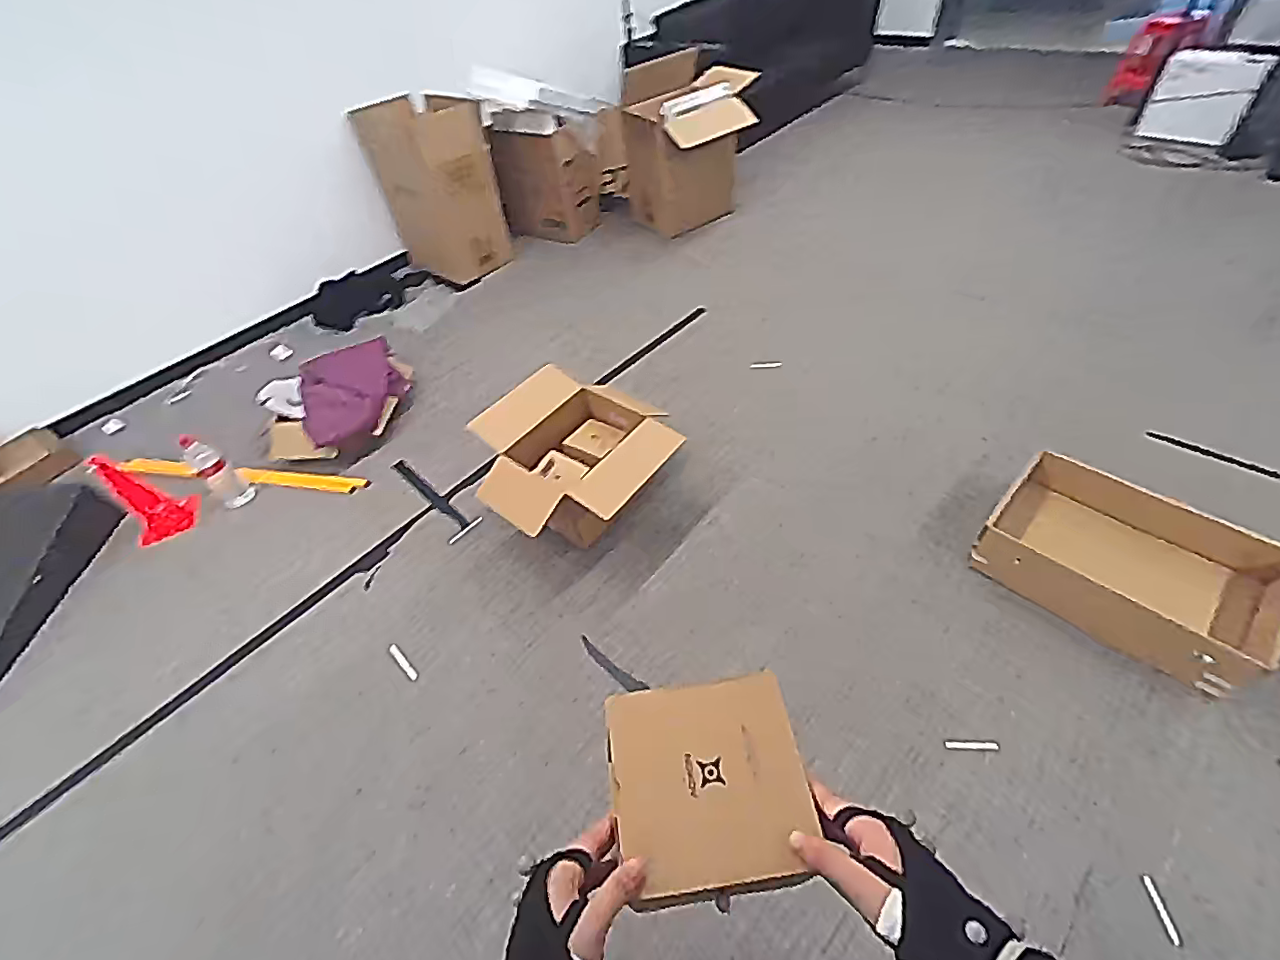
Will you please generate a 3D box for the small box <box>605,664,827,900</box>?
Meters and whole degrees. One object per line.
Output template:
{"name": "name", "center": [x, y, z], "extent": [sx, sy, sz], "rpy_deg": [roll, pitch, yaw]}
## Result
{"name": "small box", "center": [0.066, 0.311, 0.553], "extent": [0.179, 0.176, 0.168], "rpy_deg": [-8, 49, -3]}
